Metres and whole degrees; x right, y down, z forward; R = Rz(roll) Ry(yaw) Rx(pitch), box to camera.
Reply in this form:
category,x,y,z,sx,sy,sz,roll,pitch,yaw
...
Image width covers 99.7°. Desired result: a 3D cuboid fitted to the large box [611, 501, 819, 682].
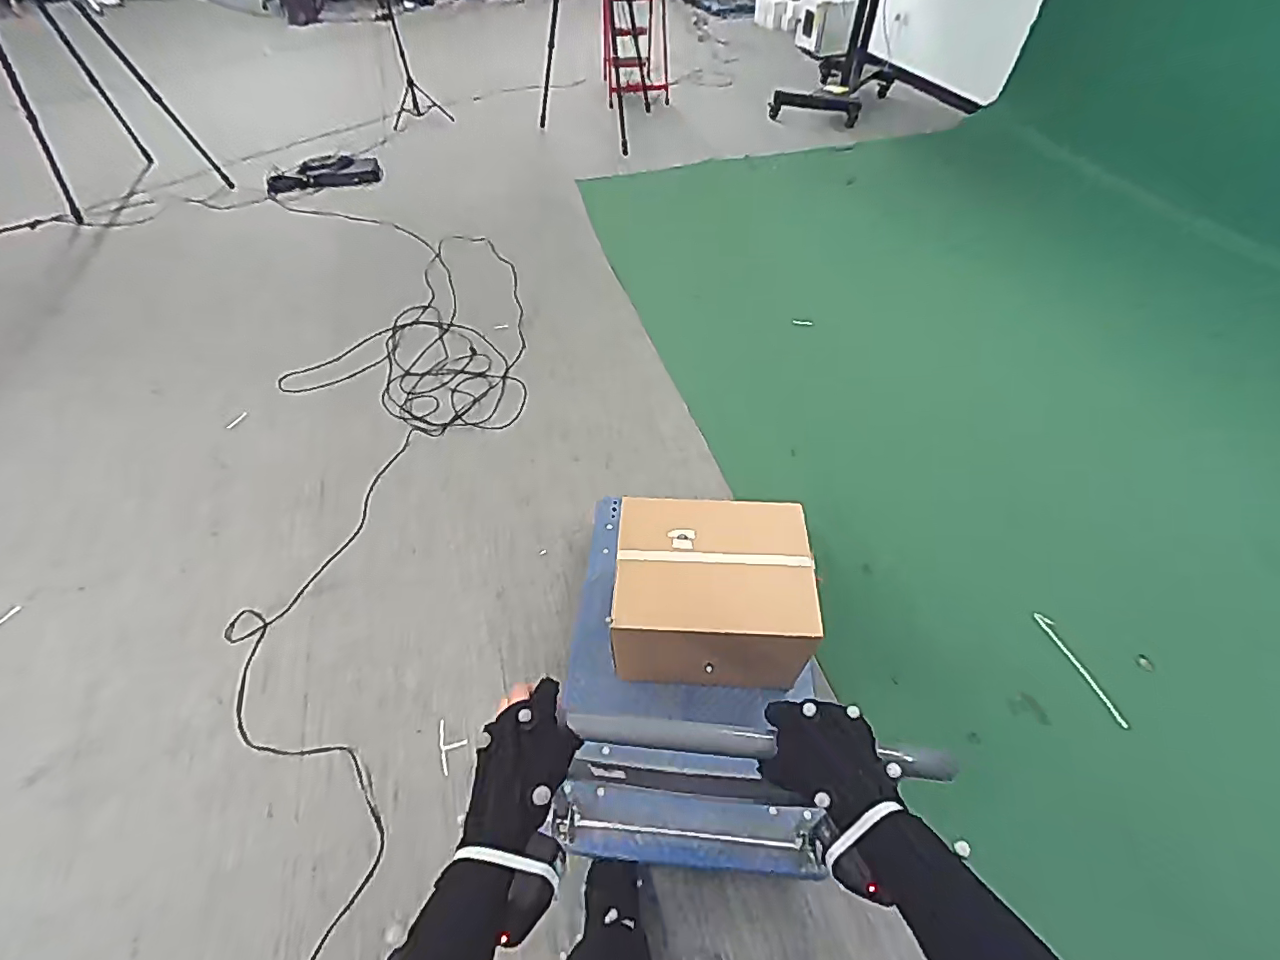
category,x,y,z,sx,sy,sz,roll,pitch,yaw
large box,0.153,0.260,1.240,0.408,0.320,0.320,1,51,3
